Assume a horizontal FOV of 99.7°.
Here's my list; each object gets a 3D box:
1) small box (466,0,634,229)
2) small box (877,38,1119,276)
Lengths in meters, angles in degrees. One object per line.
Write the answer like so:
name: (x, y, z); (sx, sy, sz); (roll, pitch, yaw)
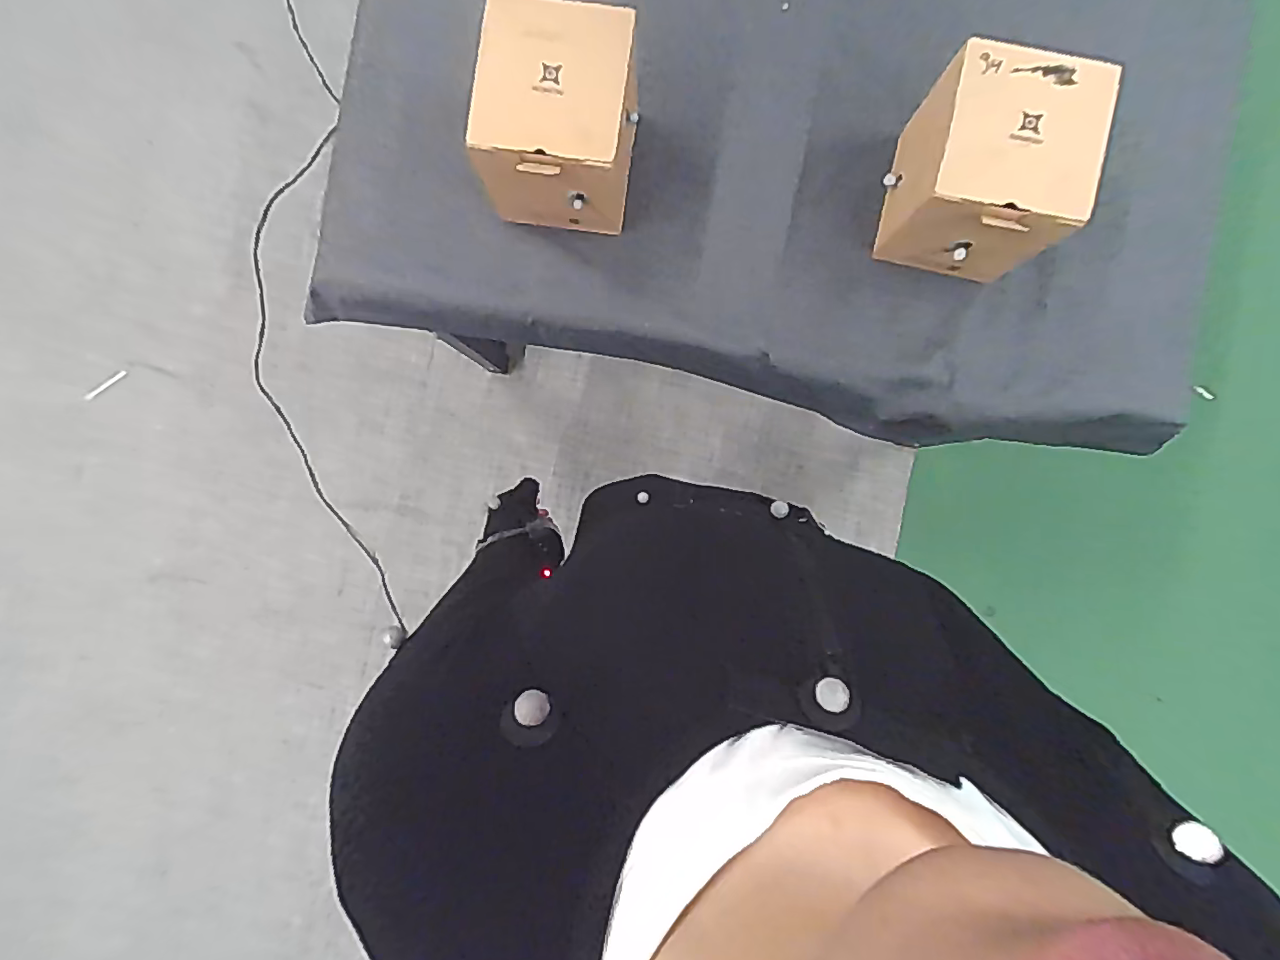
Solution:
small box: (-0.098, -0.435, 0.663); (0.168, 0.176, 0.179); (8, 88, -1)
small box: (0.410, -0.370, 0.654); (0.168, 0.176, 0.179); (13, 91, 1)
